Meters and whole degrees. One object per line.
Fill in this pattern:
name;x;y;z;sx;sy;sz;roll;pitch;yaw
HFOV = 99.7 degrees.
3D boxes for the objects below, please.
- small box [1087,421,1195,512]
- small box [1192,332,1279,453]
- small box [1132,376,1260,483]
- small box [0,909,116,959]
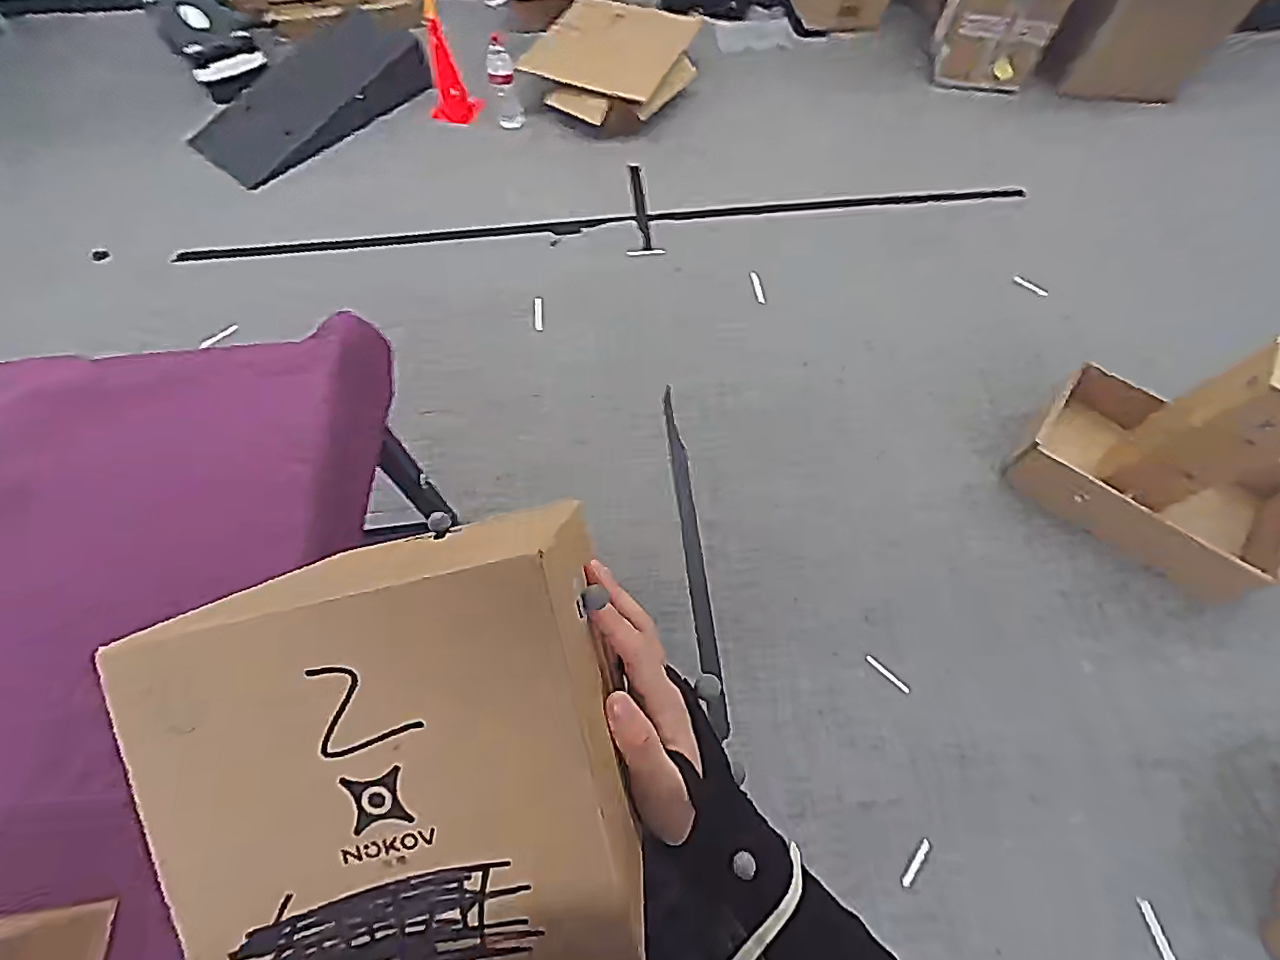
small box;1.417;-0.044;1.519;0.168;0.176;0.179;36;69;16
small box;1.423;-0.192;1.227;0.168;0.176;0.179;33;67;13
small box;1.416;-0.122;1.377;0.168;0.176;0.179;33;66;13
small box;-0.616;0.494;0.457;0.179;0.176;0.168;-7;64;-3
